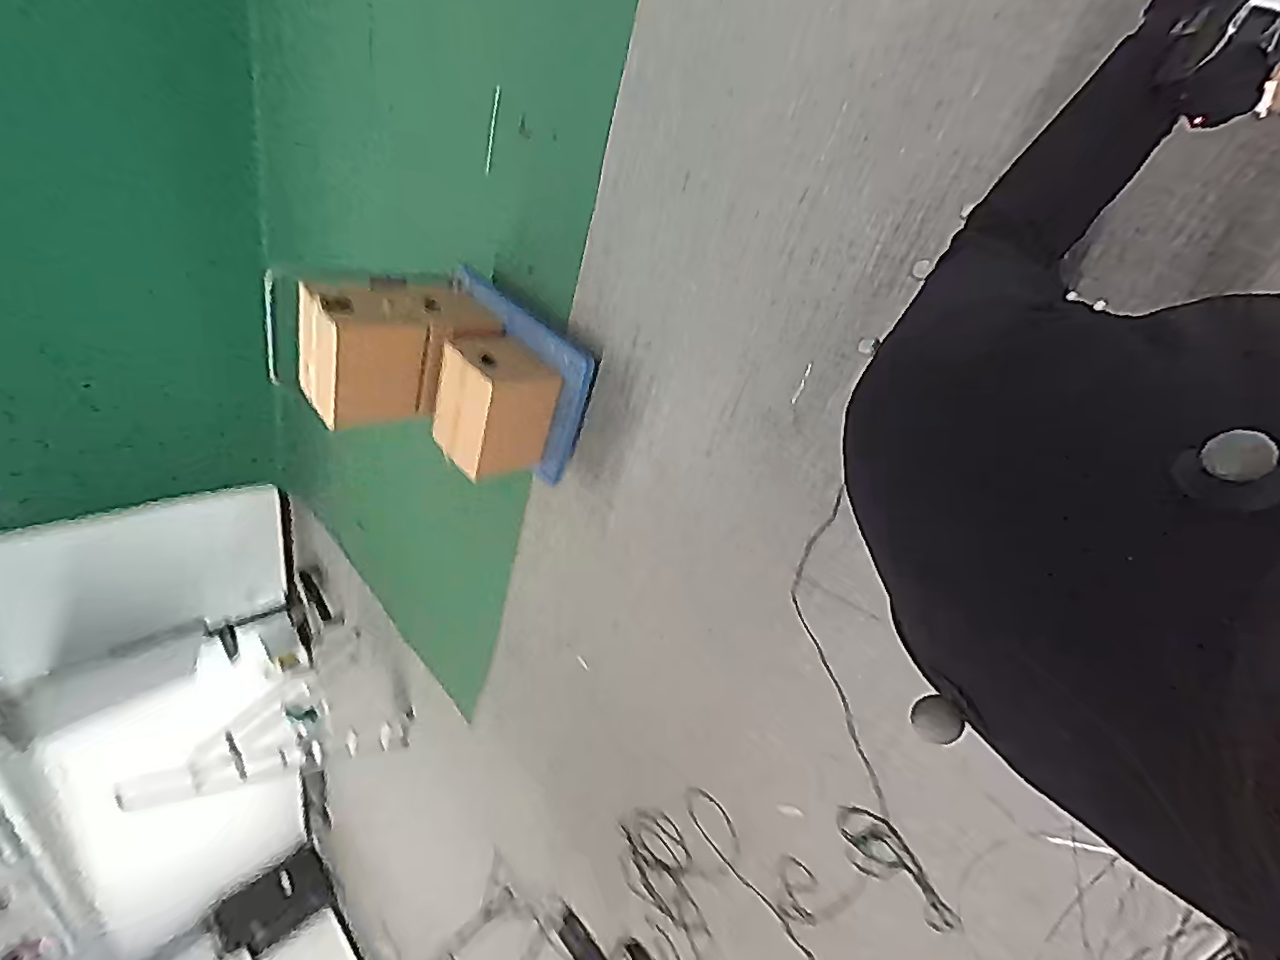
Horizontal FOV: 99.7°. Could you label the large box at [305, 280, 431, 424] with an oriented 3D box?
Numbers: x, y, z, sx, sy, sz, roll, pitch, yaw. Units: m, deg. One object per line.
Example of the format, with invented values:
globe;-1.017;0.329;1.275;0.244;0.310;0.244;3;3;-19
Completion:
large box;-0.998;-0.475;1.981;0.320;0.320;0.408;44;129;26
